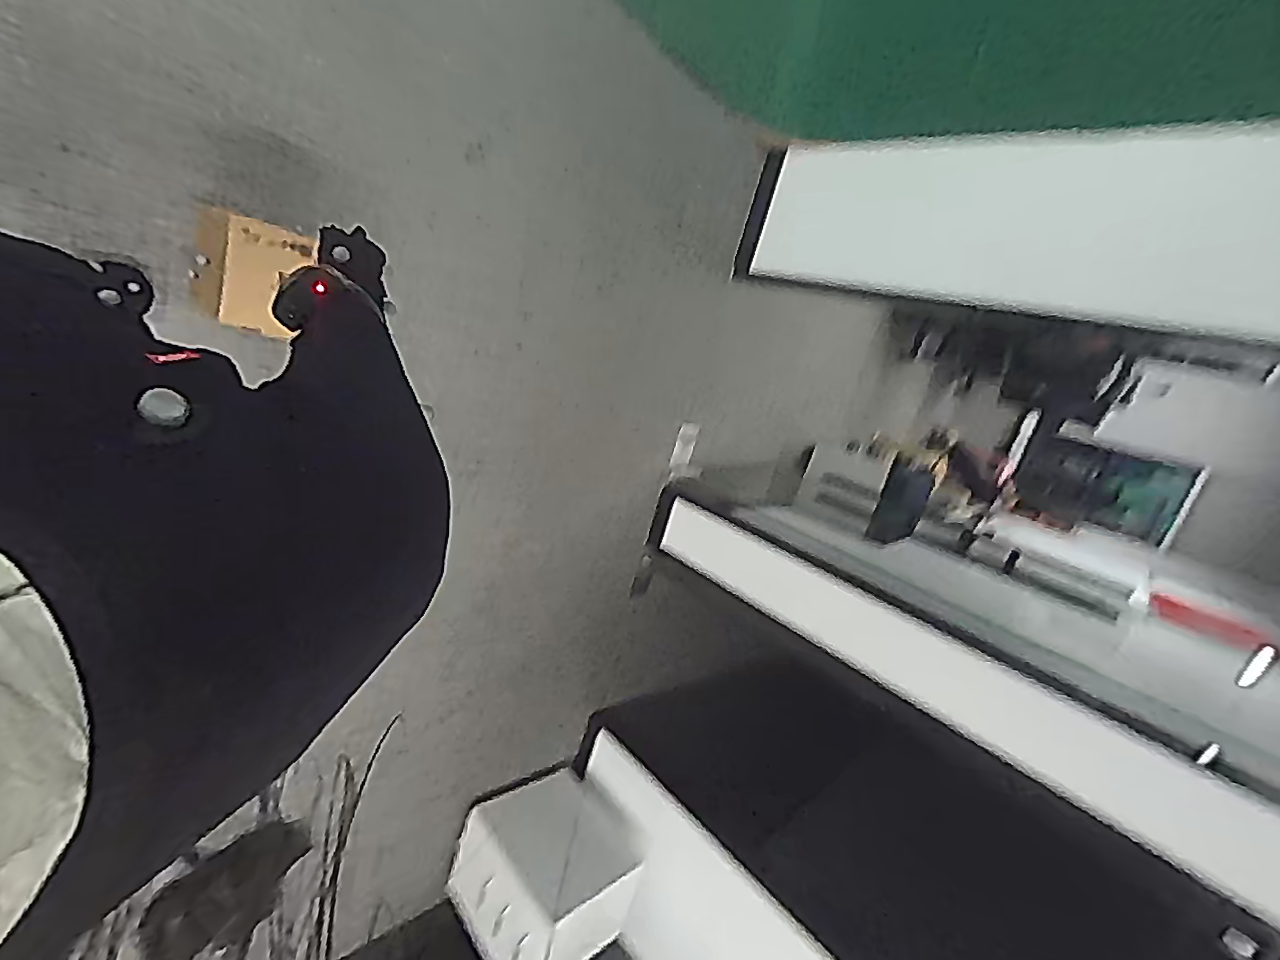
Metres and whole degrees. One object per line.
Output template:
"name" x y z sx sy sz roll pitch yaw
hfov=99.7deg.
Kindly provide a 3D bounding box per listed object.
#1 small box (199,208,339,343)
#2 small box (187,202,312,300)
"small box" -0.670 -0.366 0.972 0.168 0.176 0.179 3 109 -49
"small box" -0.779 -0.431 1.077 0.168 0.176 0.179 3 107 -49
